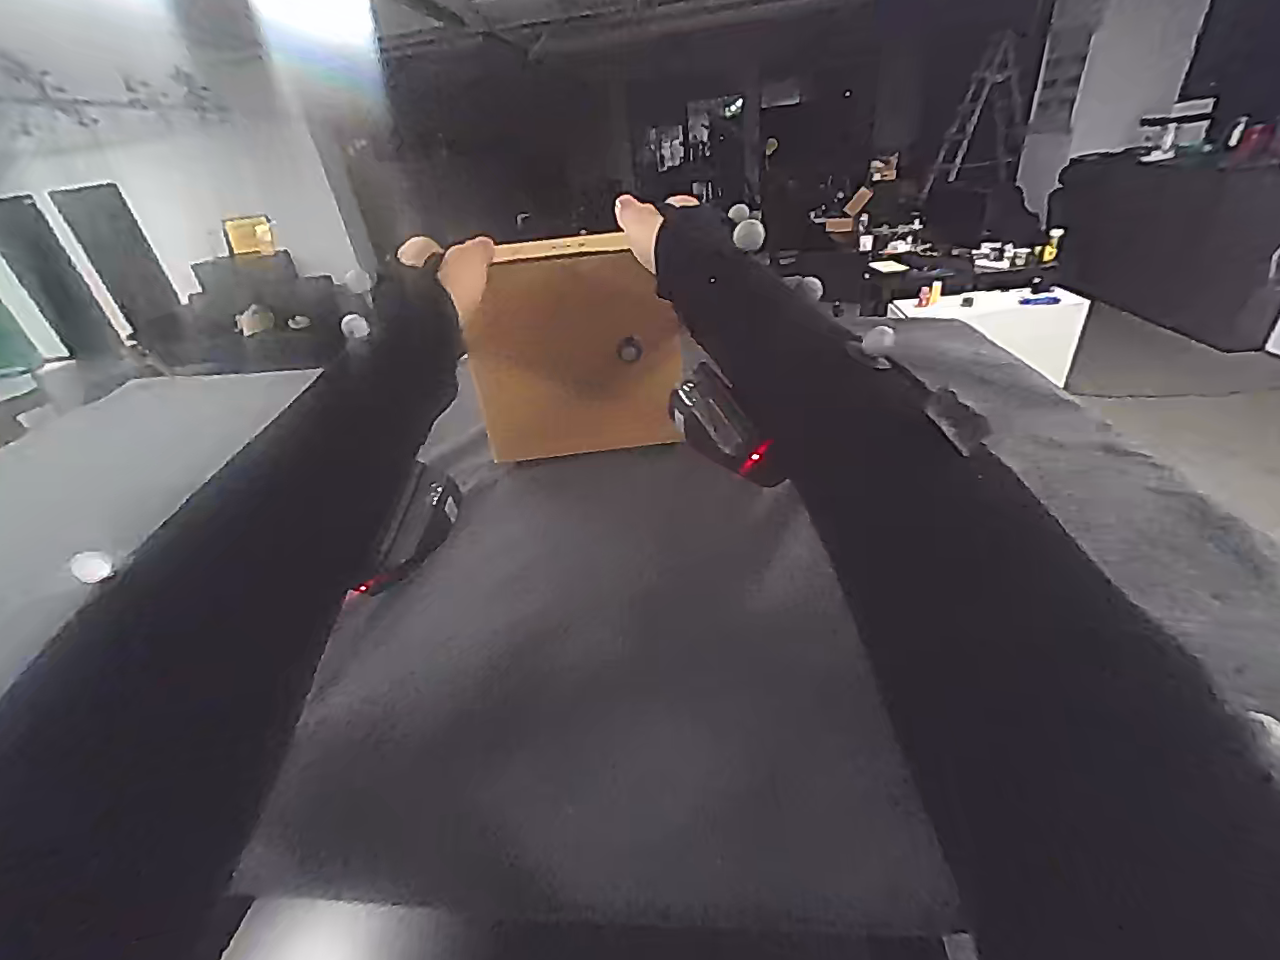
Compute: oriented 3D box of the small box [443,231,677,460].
[{"bbox_3d":[-0.060,-0.131,0.509,0.179,0.176,0.168,-7,27,-1],"label":"small box"}]
